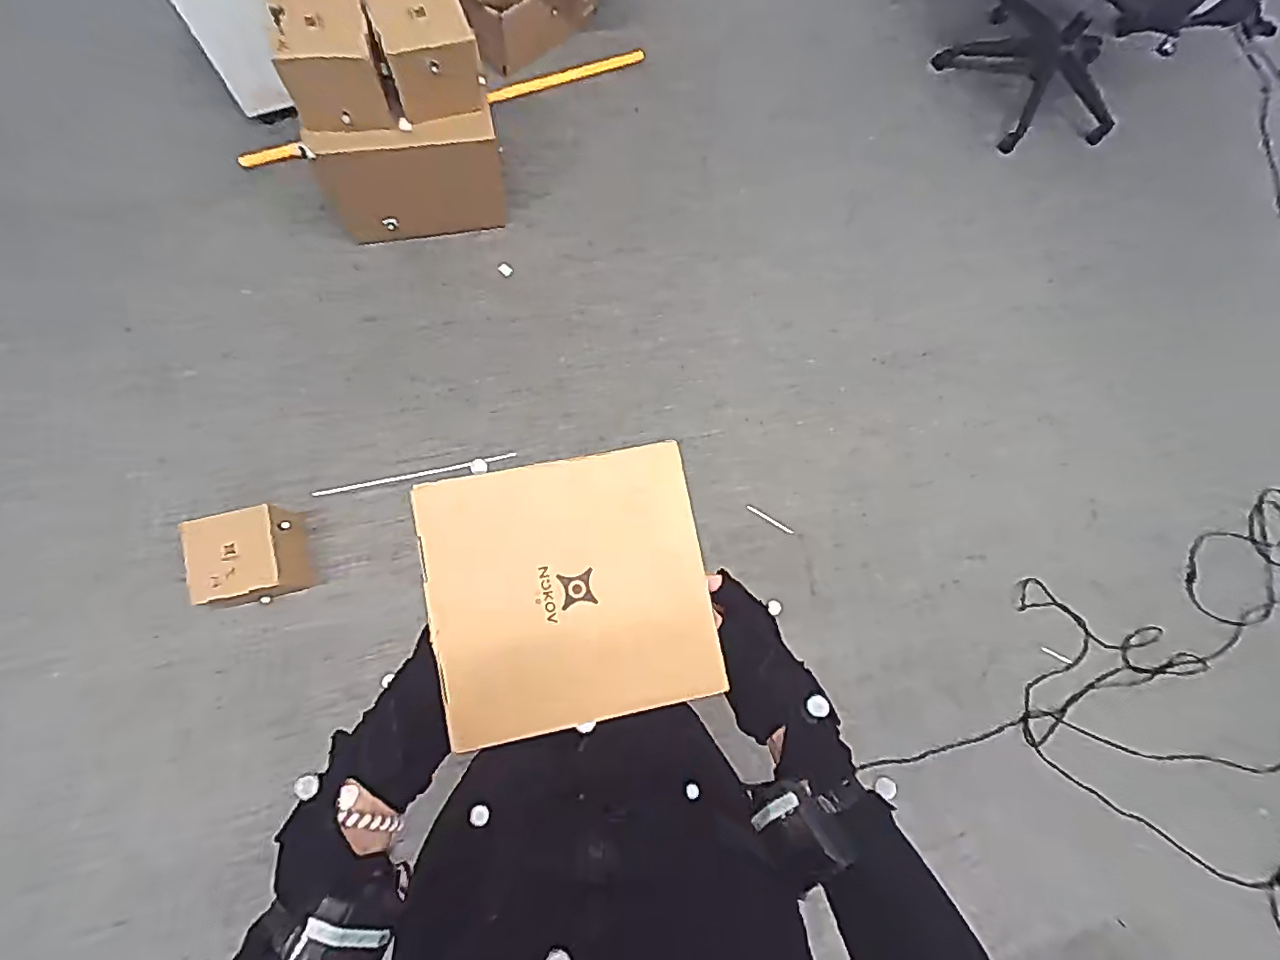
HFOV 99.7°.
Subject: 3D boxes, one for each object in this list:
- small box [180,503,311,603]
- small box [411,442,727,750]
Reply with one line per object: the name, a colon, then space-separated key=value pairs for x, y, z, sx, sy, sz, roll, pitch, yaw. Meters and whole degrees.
small box: x=-0.845 y=0.163 z=1.172 sx=0.168 sy=0.176 sz=0.179 roll=-13 pitch=80 yaw=-11
small box: x=-0.050 y=0.074 z=0.415 sx=0.179 sy=0.176 sz=0.168 roll=-10 pitch=85 yaw=-5
